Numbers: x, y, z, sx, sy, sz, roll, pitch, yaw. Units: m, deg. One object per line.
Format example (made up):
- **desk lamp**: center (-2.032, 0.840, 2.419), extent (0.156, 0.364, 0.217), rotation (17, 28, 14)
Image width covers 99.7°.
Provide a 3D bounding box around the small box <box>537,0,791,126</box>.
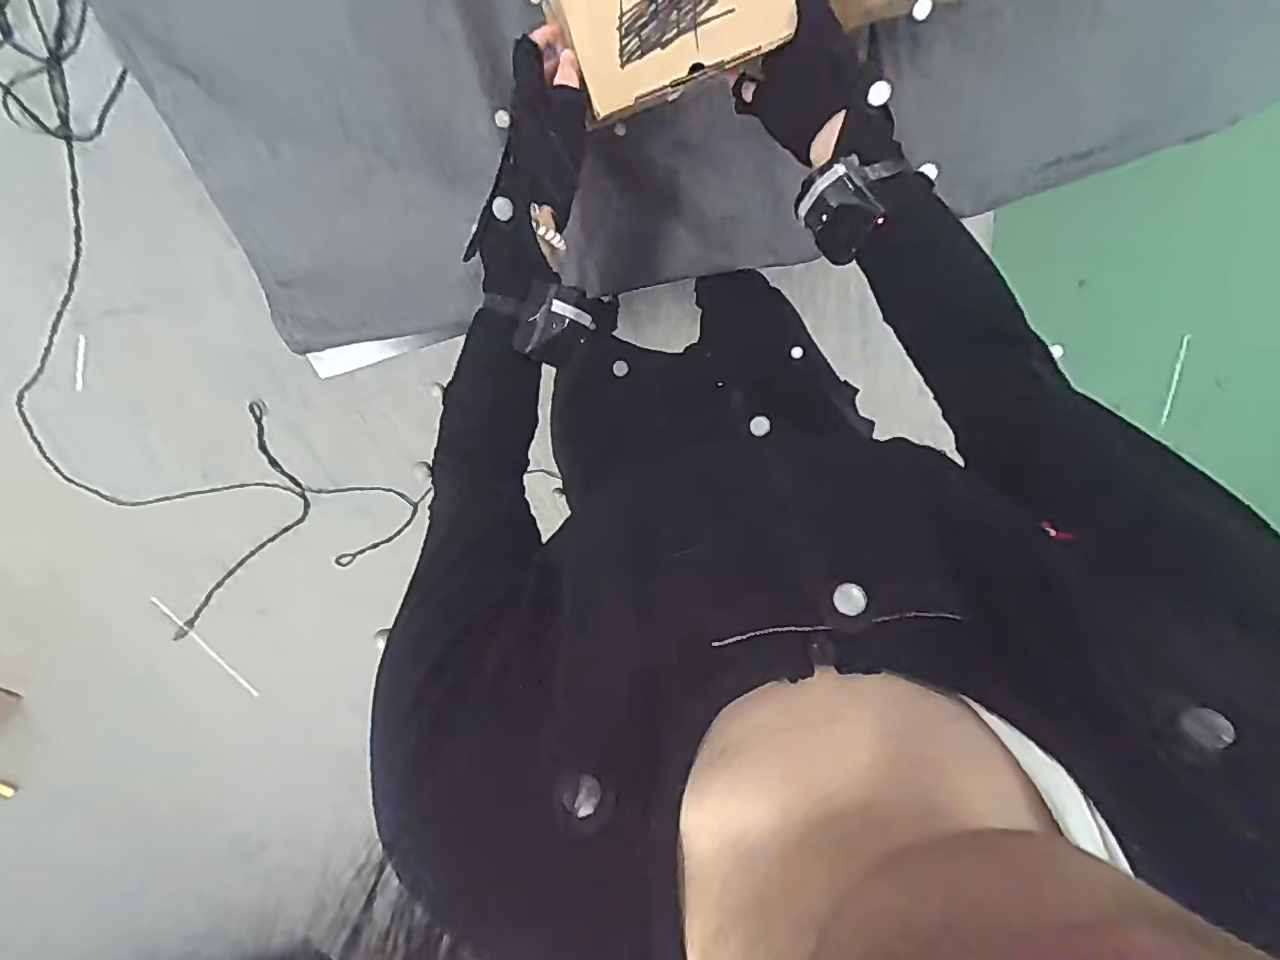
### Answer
- **small box**: center (0.001, -0.410, 0.437), extent (0.168, 0.176, 0.179), rotation (-21, 119, 2)
